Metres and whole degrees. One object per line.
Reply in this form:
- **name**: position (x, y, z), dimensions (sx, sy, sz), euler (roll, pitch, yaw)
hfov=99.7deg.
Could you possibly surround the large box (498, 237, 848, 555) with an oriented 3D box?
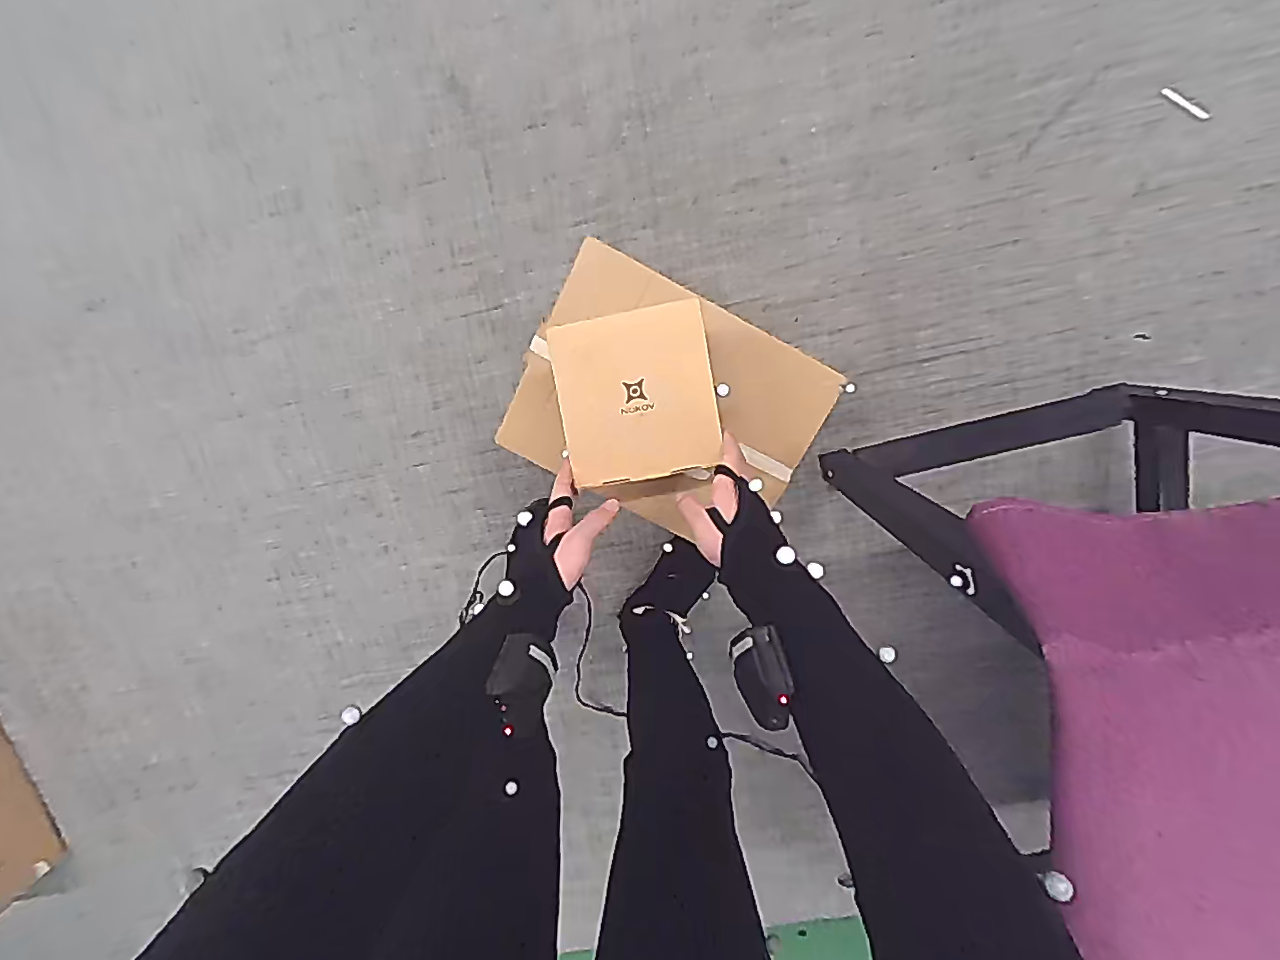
- **large box**: position (0.041, -0.139, 0.892), dimensions (0.408, 0.320, 0.320), euler (26, 105, -6)

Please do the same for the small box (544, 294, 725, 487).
- **small box**: position (0.001, -0.095, 0.632), dimensions (0.168, 0.176, 0.179), euler (-10, 94, 7)
